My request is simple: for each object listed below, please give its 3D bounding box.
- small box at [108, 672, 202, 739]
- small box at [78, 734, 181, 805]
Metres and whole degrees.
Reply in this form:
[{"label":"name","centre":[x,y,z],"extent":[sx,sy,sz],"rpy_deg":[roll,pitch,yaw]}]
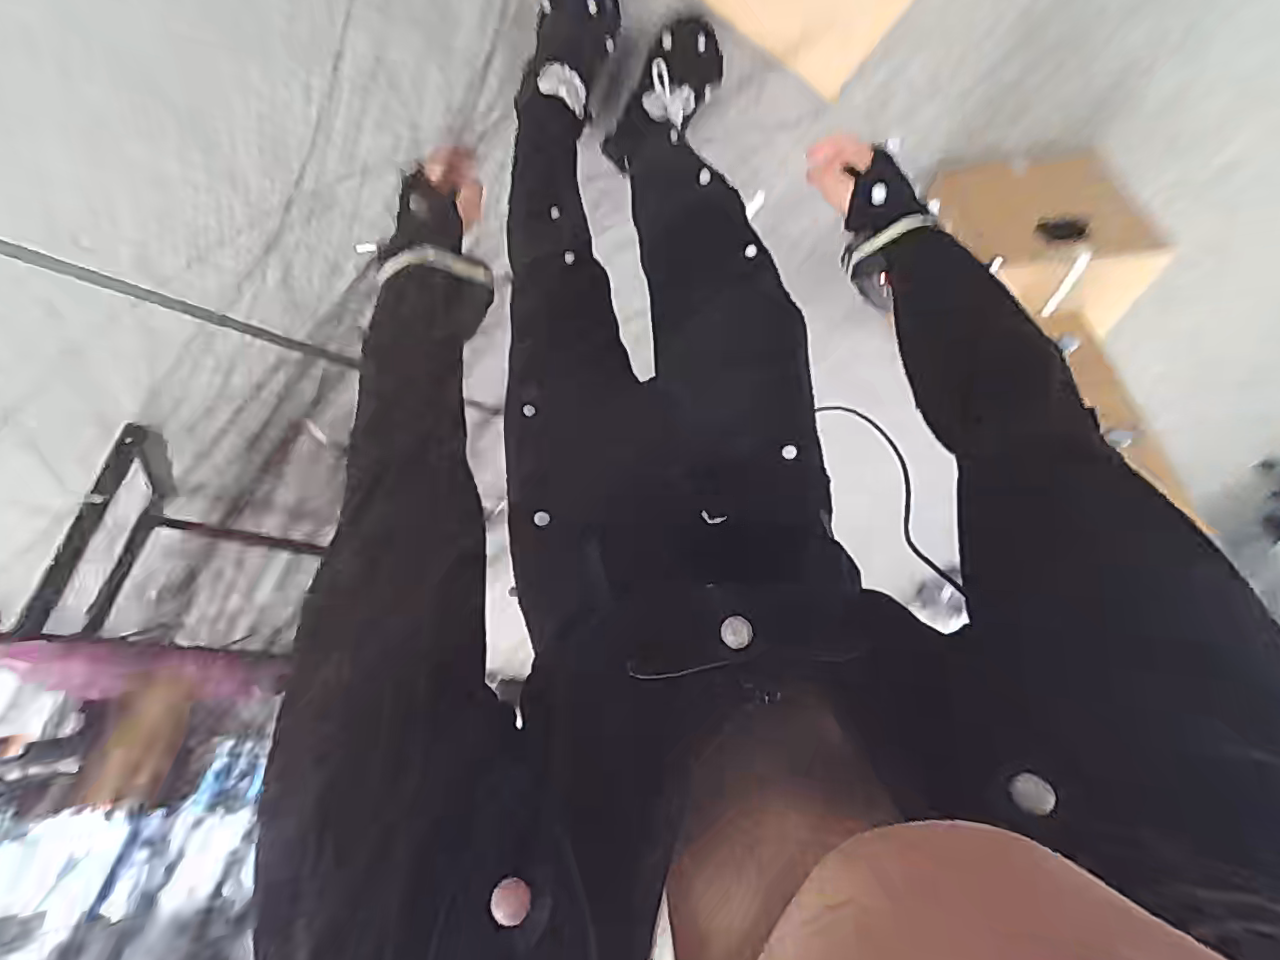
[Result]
[{"label":"small box","centre":[-1.450,0.687,1.627],"extent":[0.168,0.176,0.179],"rpy_deg":[19,143,-31]},{"label":"small box","centre":[-1.444,0.826,1.539],"extent":[0.168,0.176,0.179],"rpy_deg":[20,144,-33]}]
